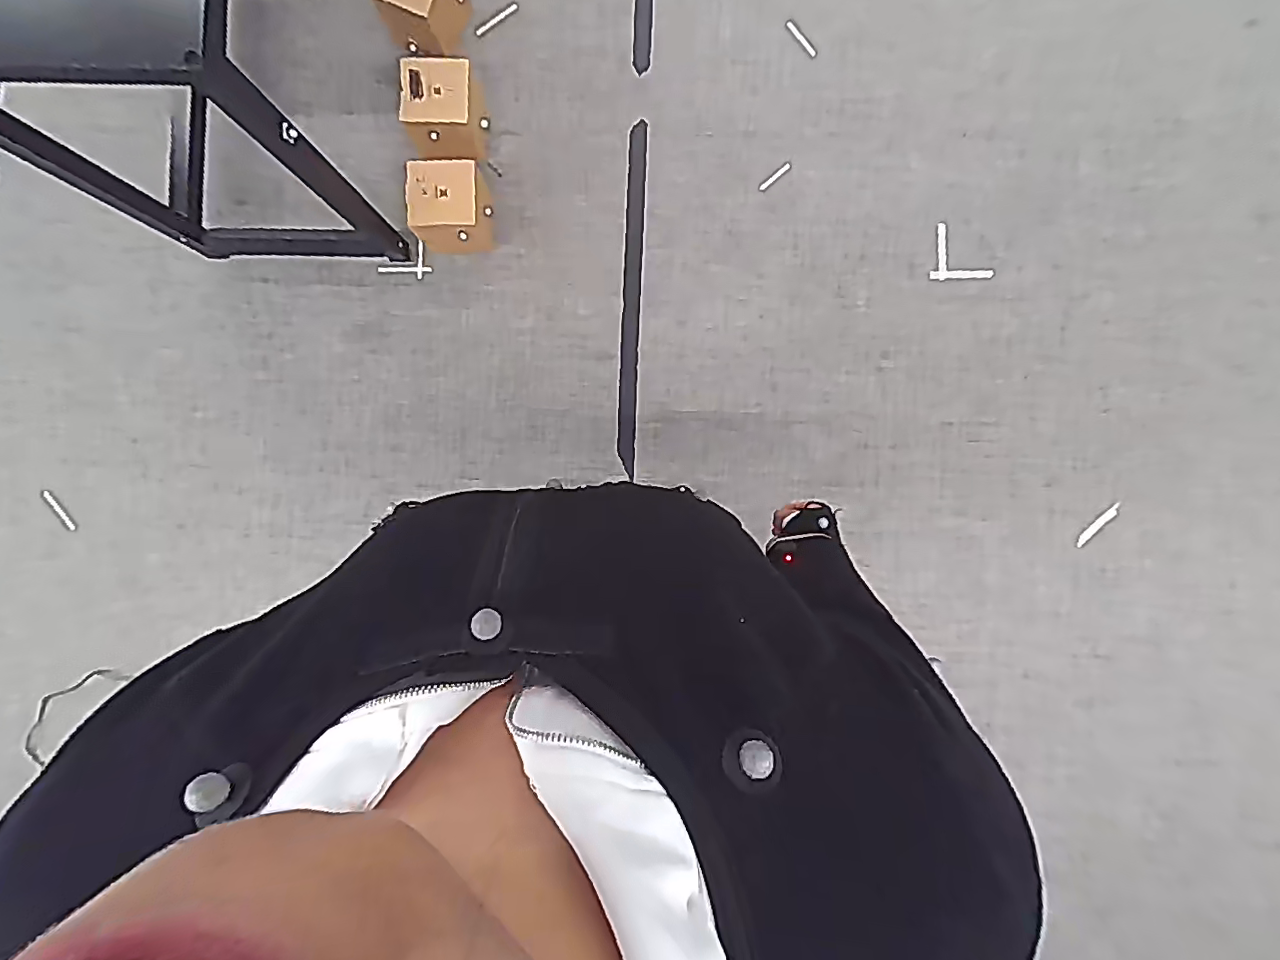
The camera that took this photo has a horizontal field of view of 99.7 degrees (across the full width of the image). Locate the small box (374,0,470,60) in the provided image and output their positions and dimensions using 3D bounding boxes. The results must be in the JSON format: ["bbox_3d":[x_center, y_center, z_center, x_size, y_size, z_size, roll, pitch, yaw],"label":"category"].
[{"bbox_3d":[-0.579,-1.276,1.450,0.168,0.176,0.179,22,91,2],"label":"small box"}]

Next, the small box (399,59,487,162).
[{"bbox_3d":[-0.521,-0.980,1.446,0.179,0.176,0.168,1,90,-1],"label":"small box"}]
